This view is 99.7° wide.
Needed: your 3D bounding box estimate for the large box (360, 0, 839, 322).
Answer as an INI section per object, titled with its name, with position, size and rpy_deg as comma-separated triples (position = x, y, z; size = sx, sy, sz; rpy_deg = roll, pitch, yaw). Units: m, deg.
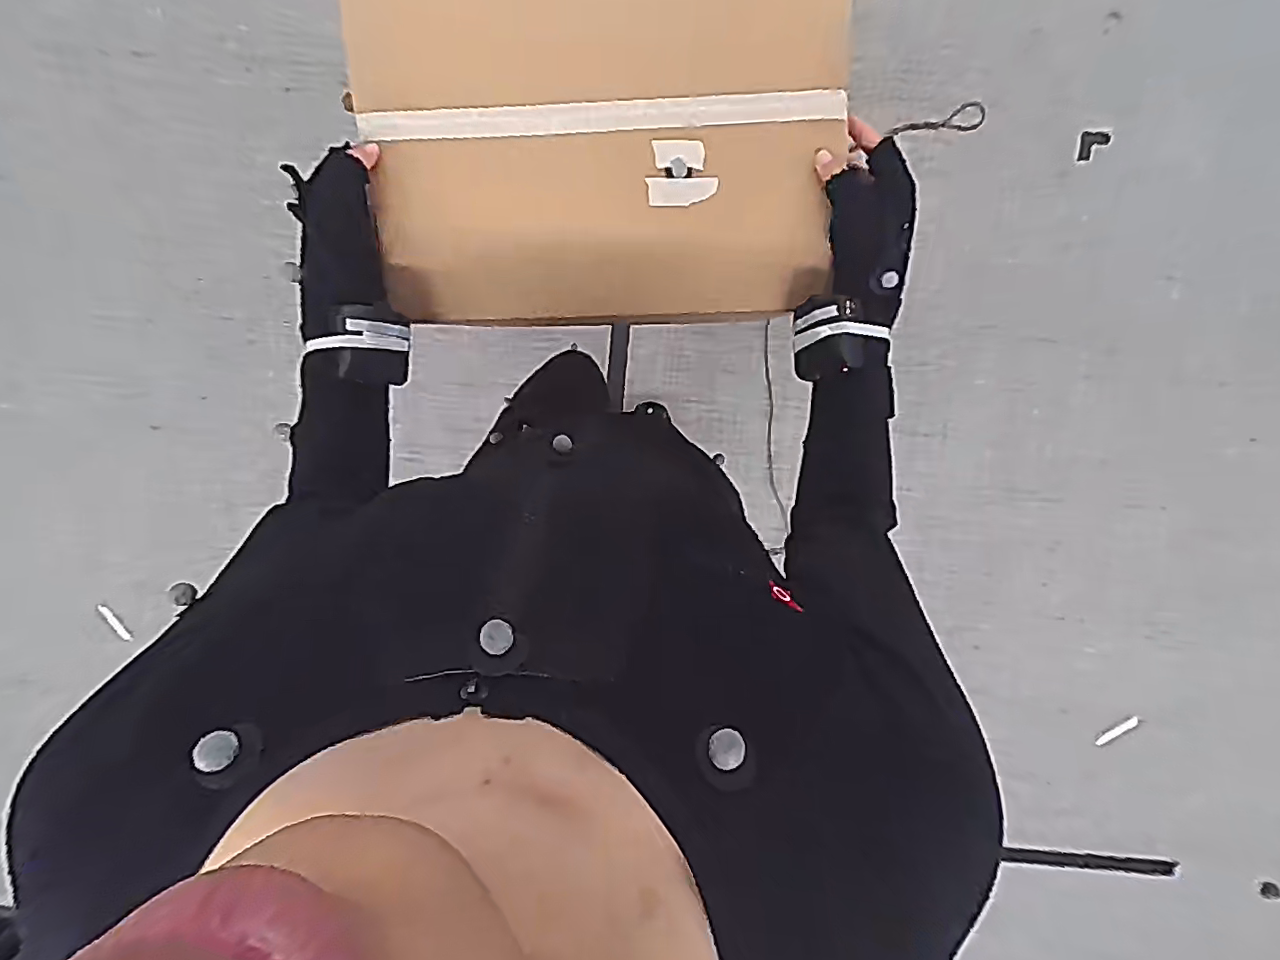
[large box]
position = -0.030, -0.353, 0.611
size = 0.408, 0.320, 0.320
rpy_deg = -2, 105, 1
